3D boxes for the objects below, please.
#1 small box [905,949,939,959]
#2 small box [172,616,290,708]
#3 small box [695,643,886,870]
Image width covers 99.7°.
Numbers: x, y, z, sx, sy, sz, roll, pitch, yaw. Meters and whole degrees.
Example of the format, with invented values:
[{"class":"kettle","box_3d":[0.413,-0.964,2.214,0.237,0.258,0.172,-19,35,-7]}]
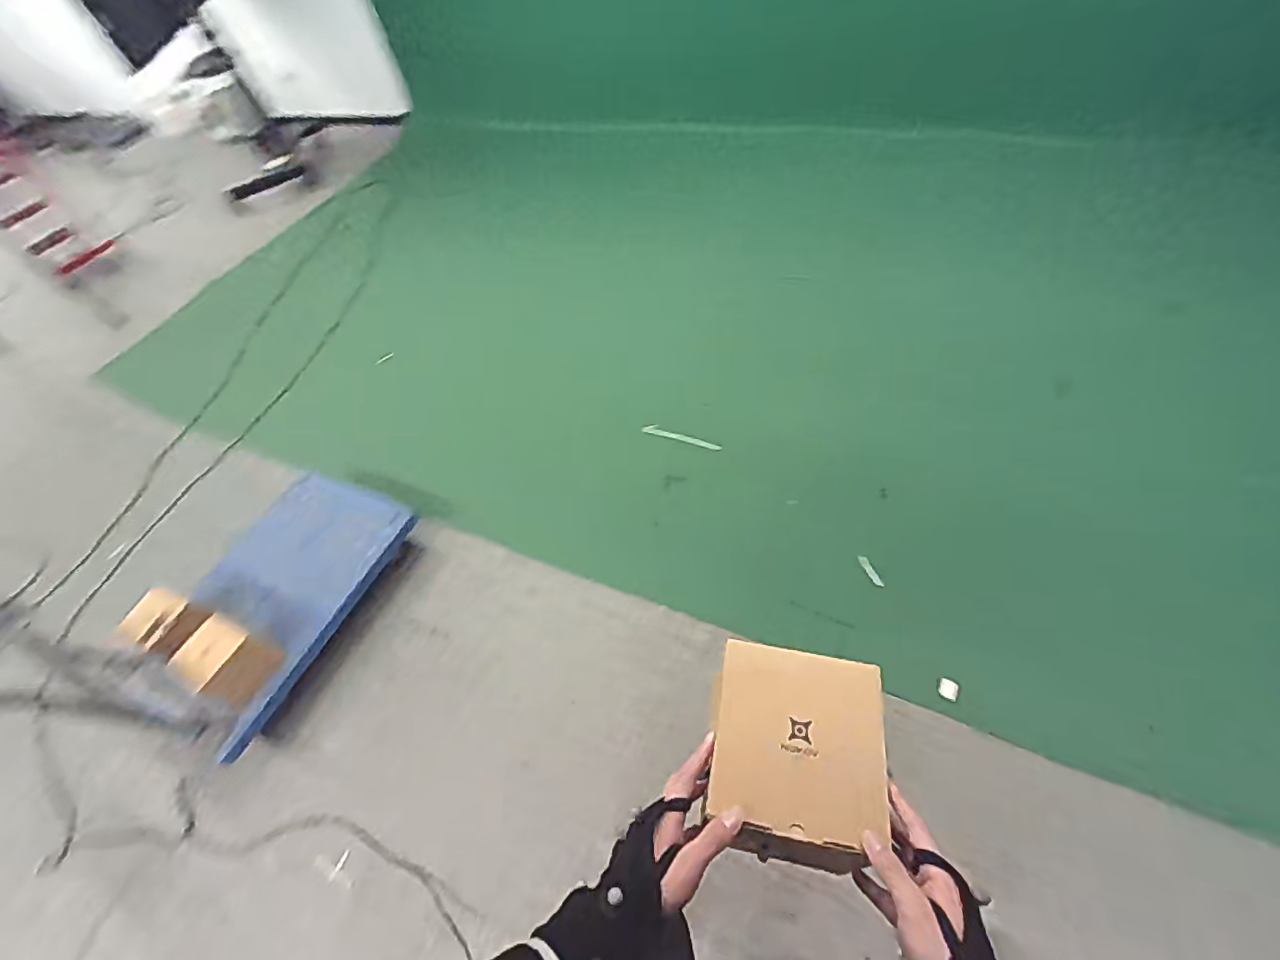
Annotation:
[{"class":"small box","box_3d":[0.601,1.054,1.045,0.179,0.176,0.168,22,62,24]},{"class":"small box","box_3d":[-1.164,0.527,1.552,0.168,0.176,0.179,20,60,23]},{"class":"small box","box_3d":[0.154,0.308,0.600,0.168,0.176,0.179,7,52,7]}]
